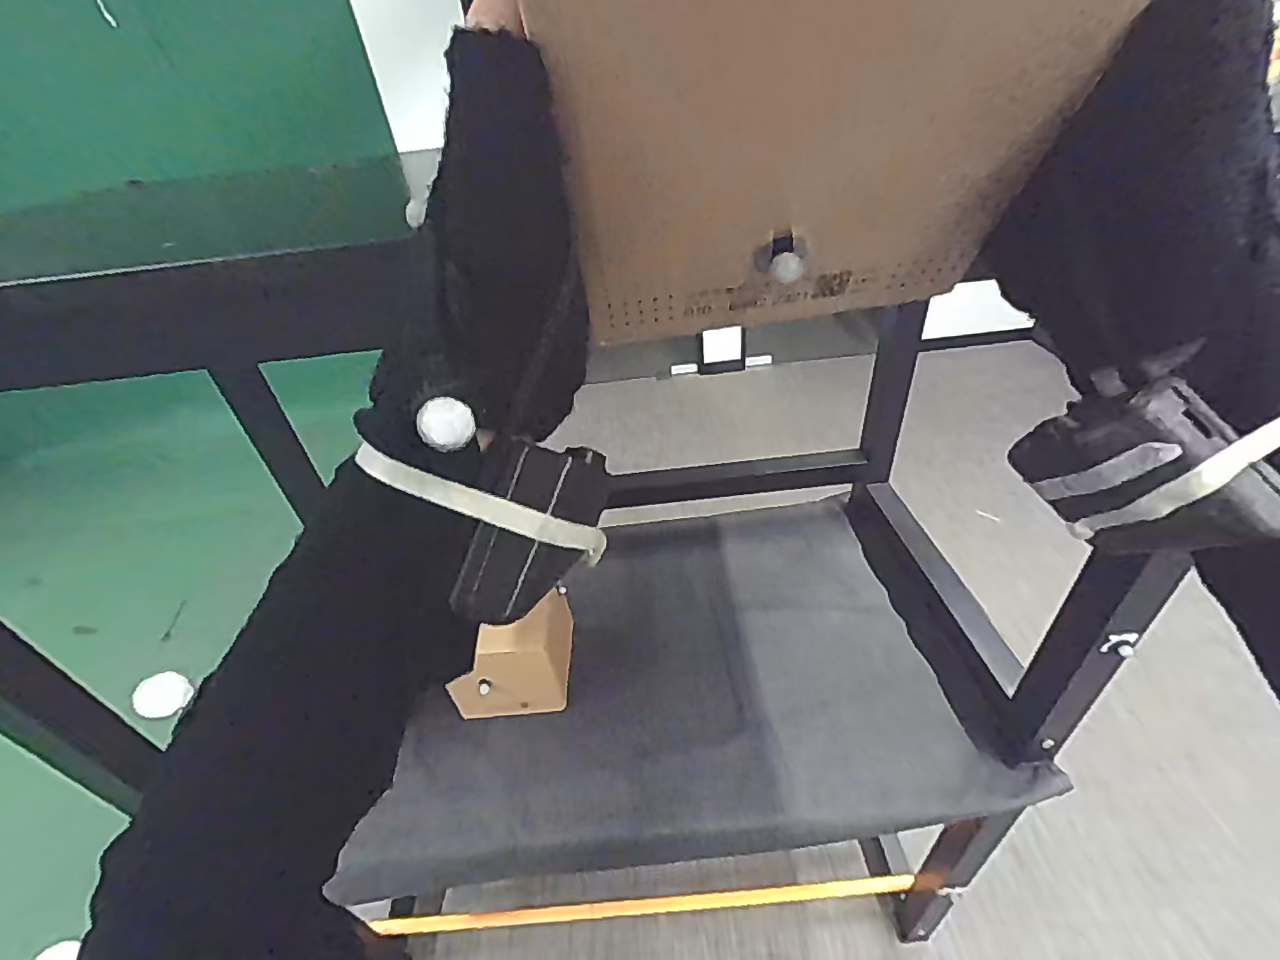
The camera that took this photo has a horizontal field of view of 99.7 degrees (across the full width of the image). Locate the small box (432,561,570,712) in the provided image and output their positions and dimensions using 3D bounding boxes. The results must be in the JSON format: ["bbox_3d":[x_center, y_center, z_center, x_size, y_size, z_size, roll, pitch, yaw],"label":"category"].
[{"bbox_3d":[-0.212,0.259,0.881,0.168,0.176,0.179,-5,36,2],"label":"small box"}]
